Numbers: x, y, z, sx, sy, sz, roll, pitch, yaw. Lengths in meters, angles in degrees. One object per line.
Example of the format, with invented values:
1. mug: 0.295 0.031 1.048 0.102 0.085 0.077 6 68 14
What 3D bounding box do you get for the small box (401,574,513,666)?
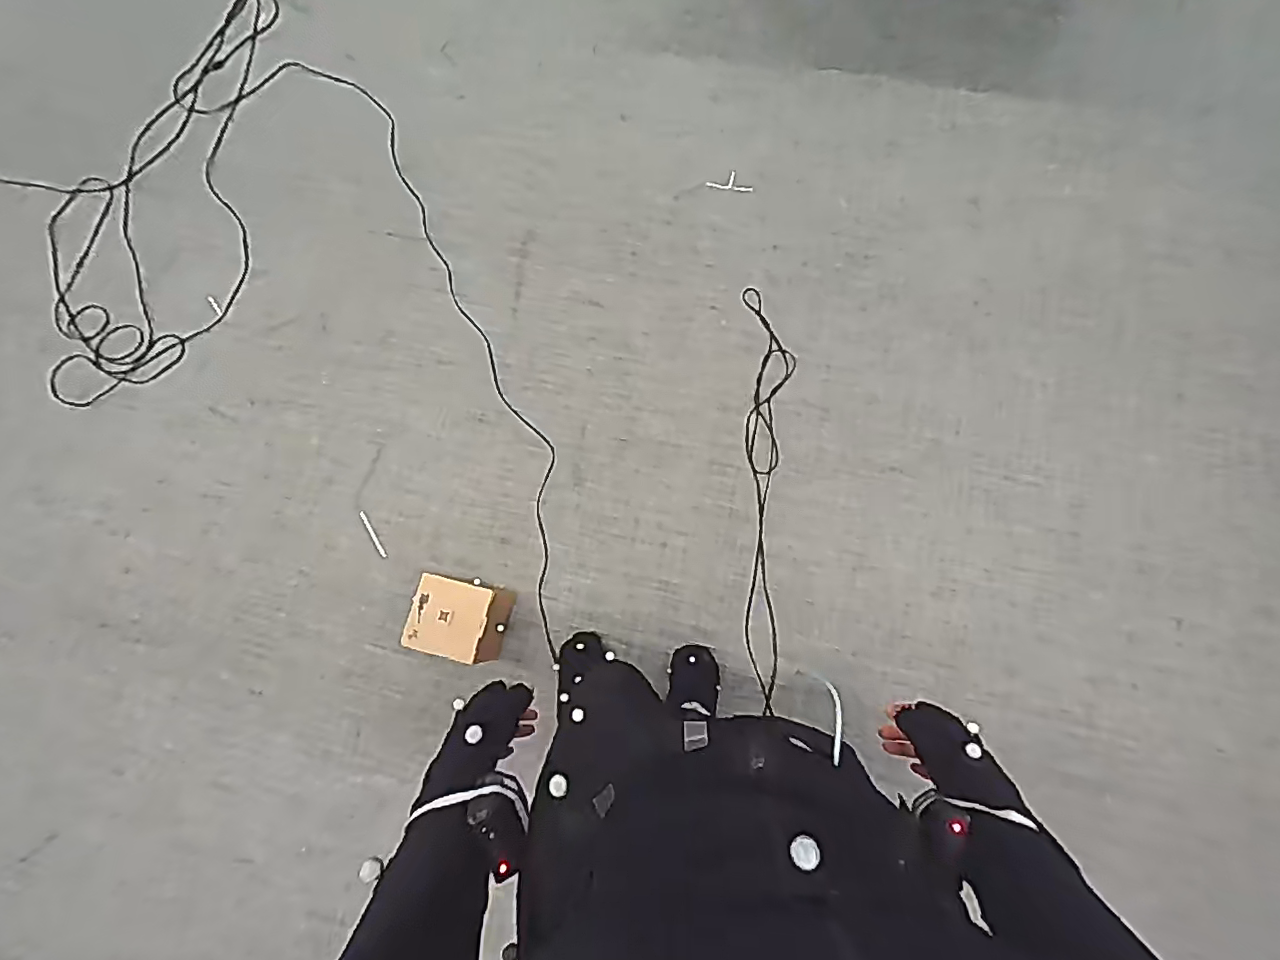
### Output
1. small box: -0.417 0.324 1.271 0.179 0.176 0.168 13 78 7
